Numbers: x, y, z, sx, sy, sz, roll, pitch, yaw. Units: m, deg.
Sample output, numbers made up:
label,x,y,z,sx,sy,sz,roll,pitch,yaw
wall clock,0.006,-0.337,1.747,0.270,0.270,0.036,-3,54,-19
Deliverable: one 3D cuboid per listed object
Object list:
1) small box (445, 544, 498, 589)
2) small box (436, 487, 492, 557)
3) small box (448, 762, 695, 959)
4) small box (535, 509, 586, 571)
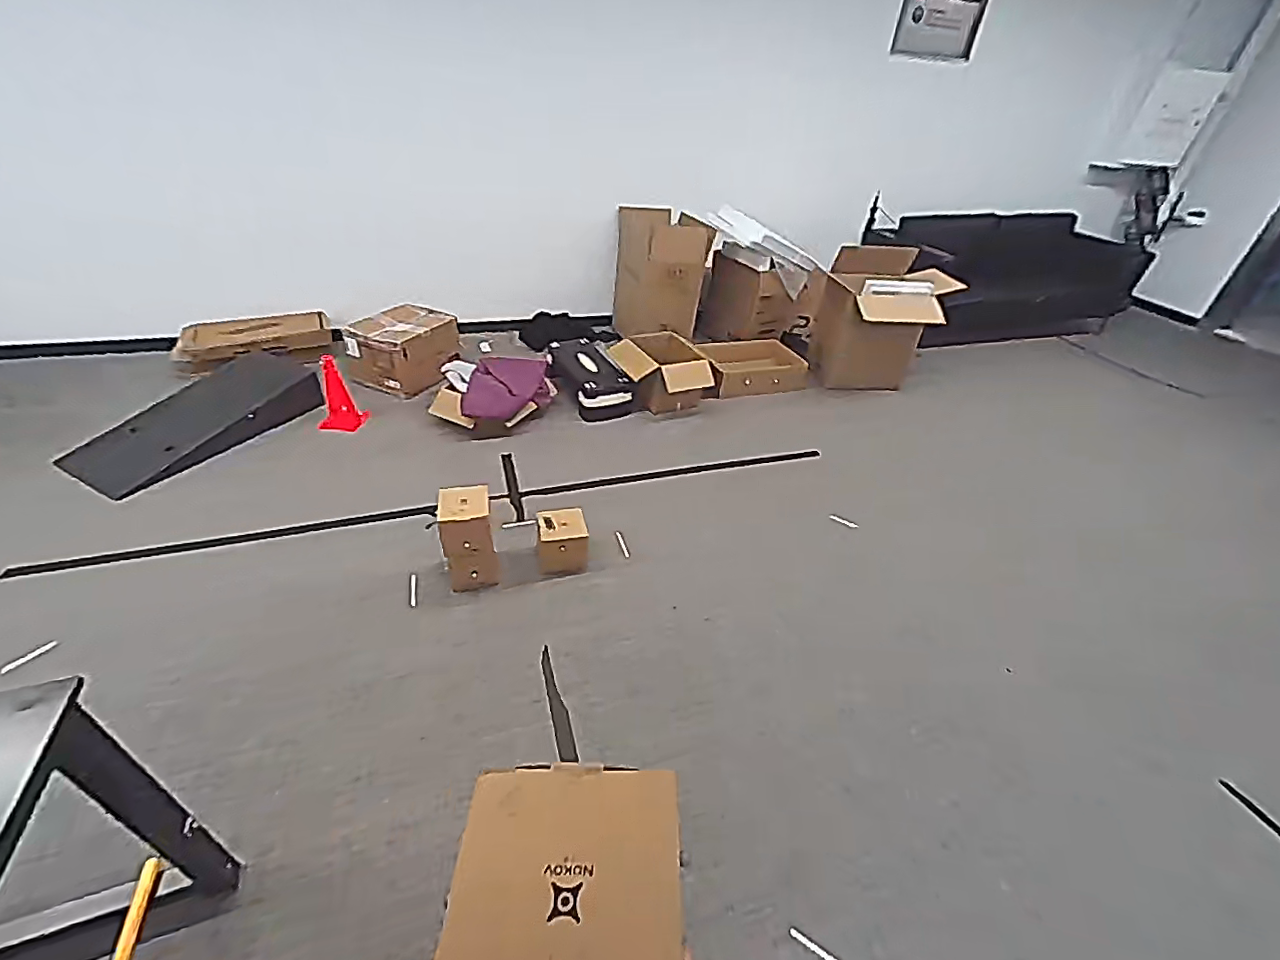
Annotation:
label,x,y,z,sx,sy,sz,roll,pitch,yaw
small box,-0.622,0.281,1.984,0.168,0.176,0.179,-9,40,-18
small box,-0.610,0.146,1.888,0.168,0.176,0.179,-6,38,-13
small box,-0.046,0.355,0.436,0.168,0.176,0.179,1,40,0
small box,-0.306,0.234,2.085,0.179,0.176,0.168,-6,38,-16
